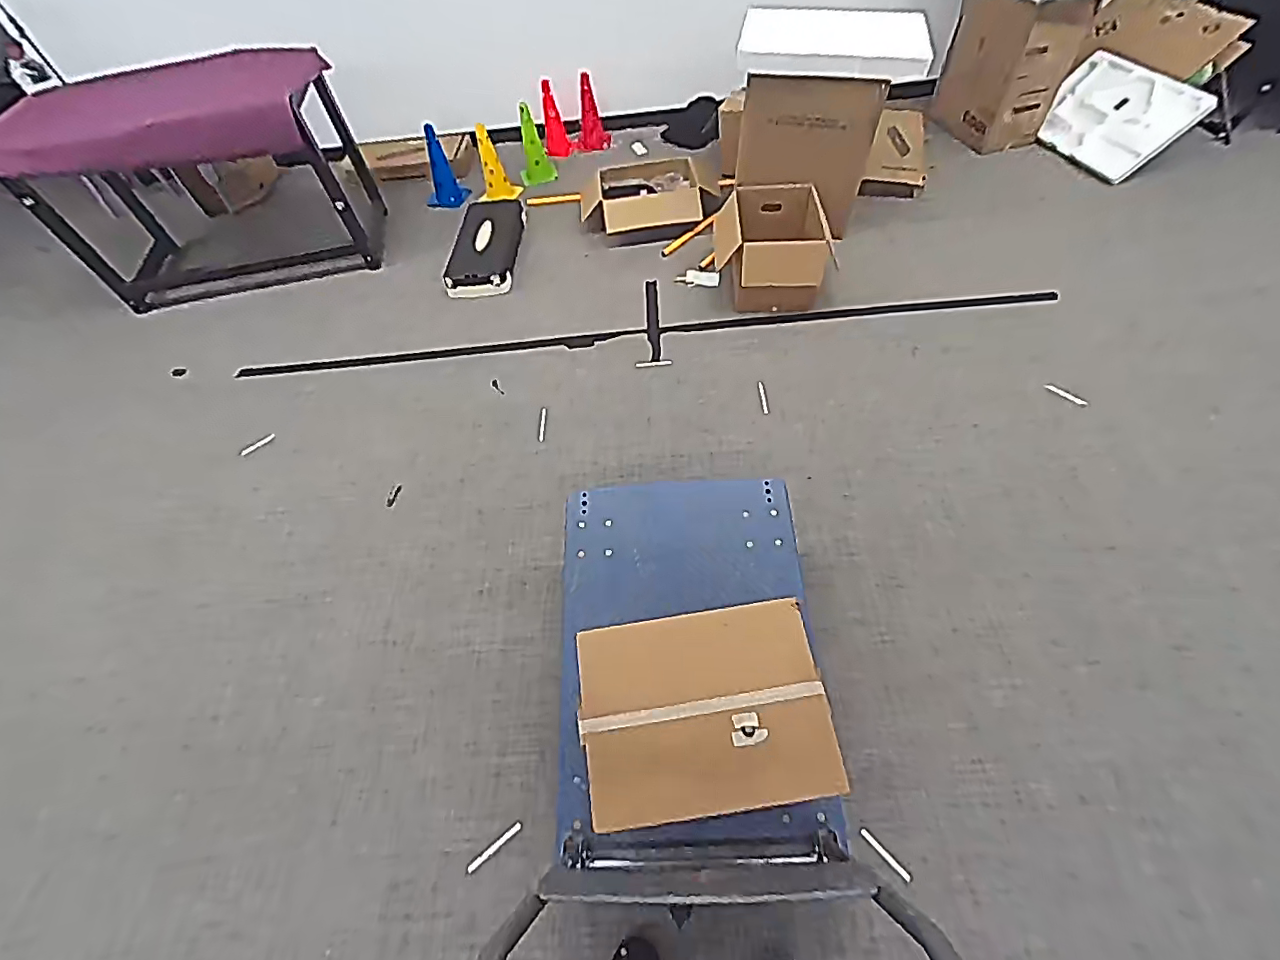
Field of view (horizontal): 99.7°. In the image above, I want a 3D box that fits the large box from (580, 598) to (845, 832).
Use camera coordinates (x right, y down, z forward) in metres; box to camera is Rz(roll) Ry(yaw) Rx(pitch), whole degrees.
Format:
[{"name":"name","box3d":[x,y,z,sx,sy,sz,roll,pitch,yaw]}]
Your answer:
[{"name":"large box","box3d":[0.118,0.453,1.052,0.408,0.320,0.320,-10,63,-1]}]
